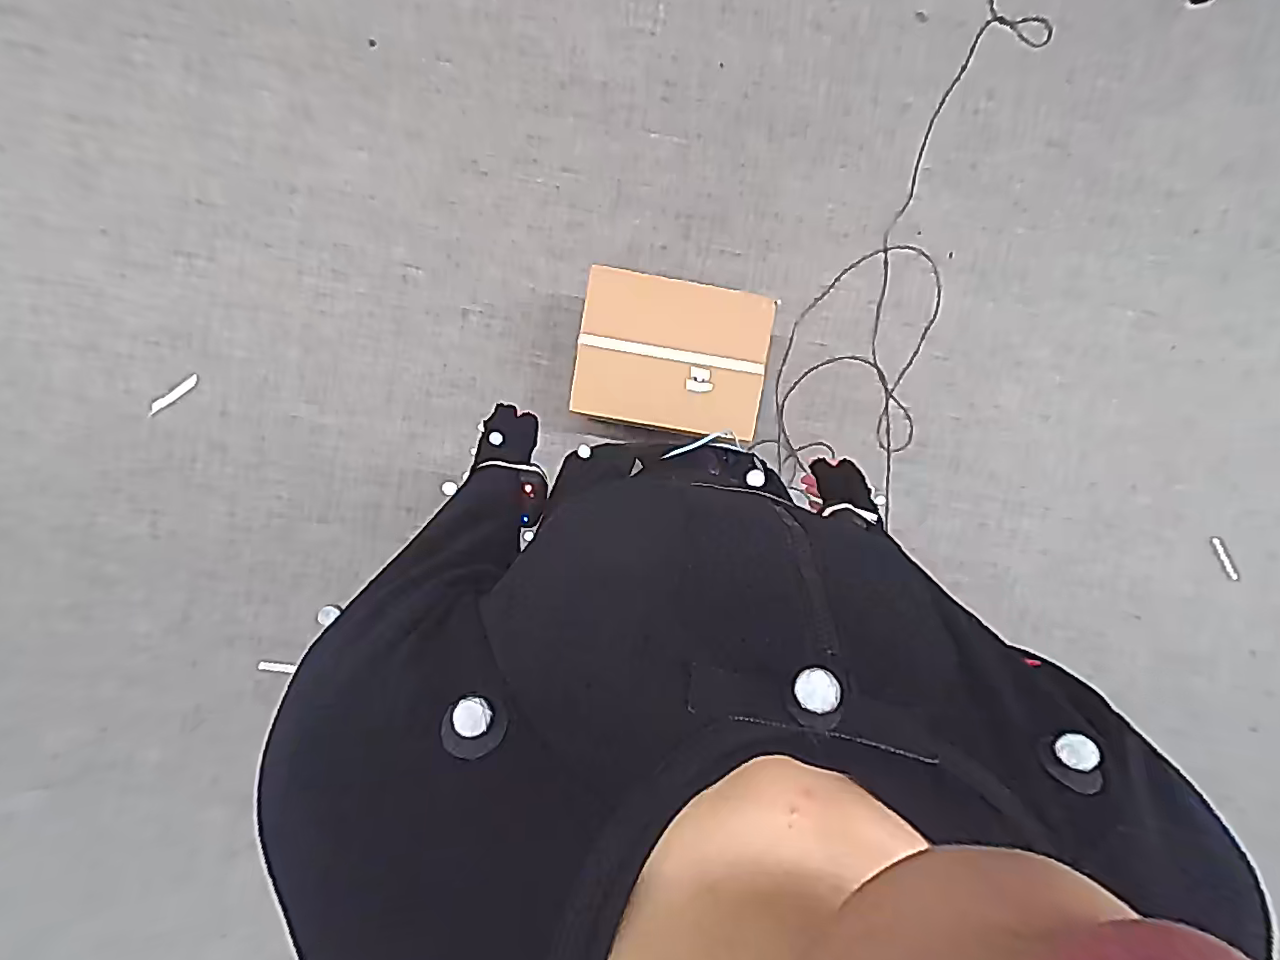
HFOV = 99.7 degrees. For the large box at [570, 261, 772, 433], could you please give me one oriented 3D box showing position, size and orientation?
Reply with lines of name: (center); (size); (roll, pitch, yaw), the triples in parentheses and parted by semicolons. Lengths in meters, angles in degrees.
large box: (0.058, -0.296, 1.311); (0.408, 0.320, 0.320); (10, 95, -3)
